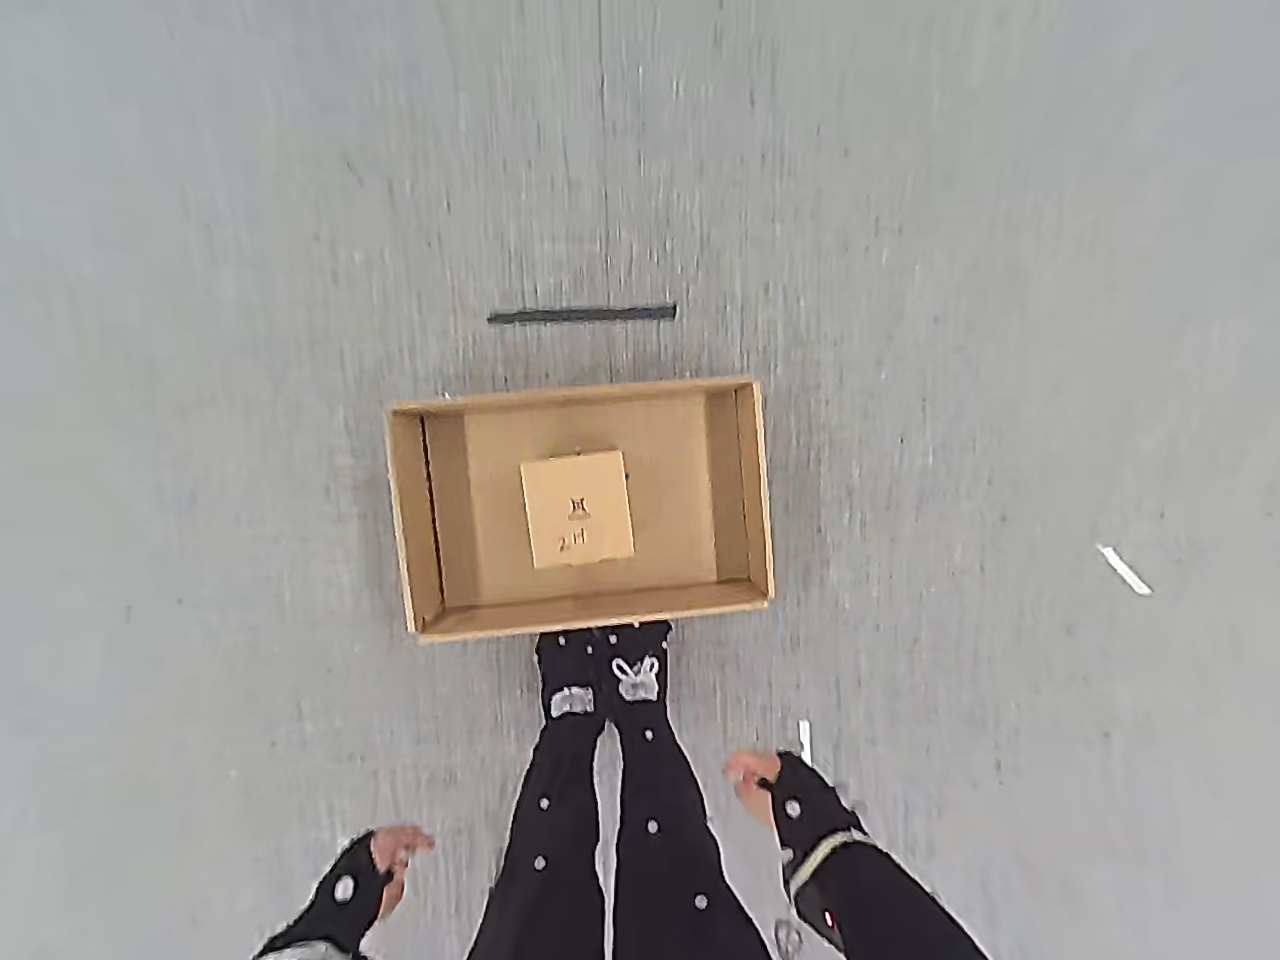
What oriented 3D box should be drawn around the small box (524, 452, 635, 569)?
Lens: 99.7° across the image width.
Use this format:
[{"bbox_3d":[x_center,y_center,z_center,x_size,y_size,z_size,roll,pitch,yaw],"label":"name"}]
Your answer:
[{"bbox_3d":[-0.103,0.047,0.953,0.168,0.176,0.179,-7,94,-2],"label":"small box"}]
